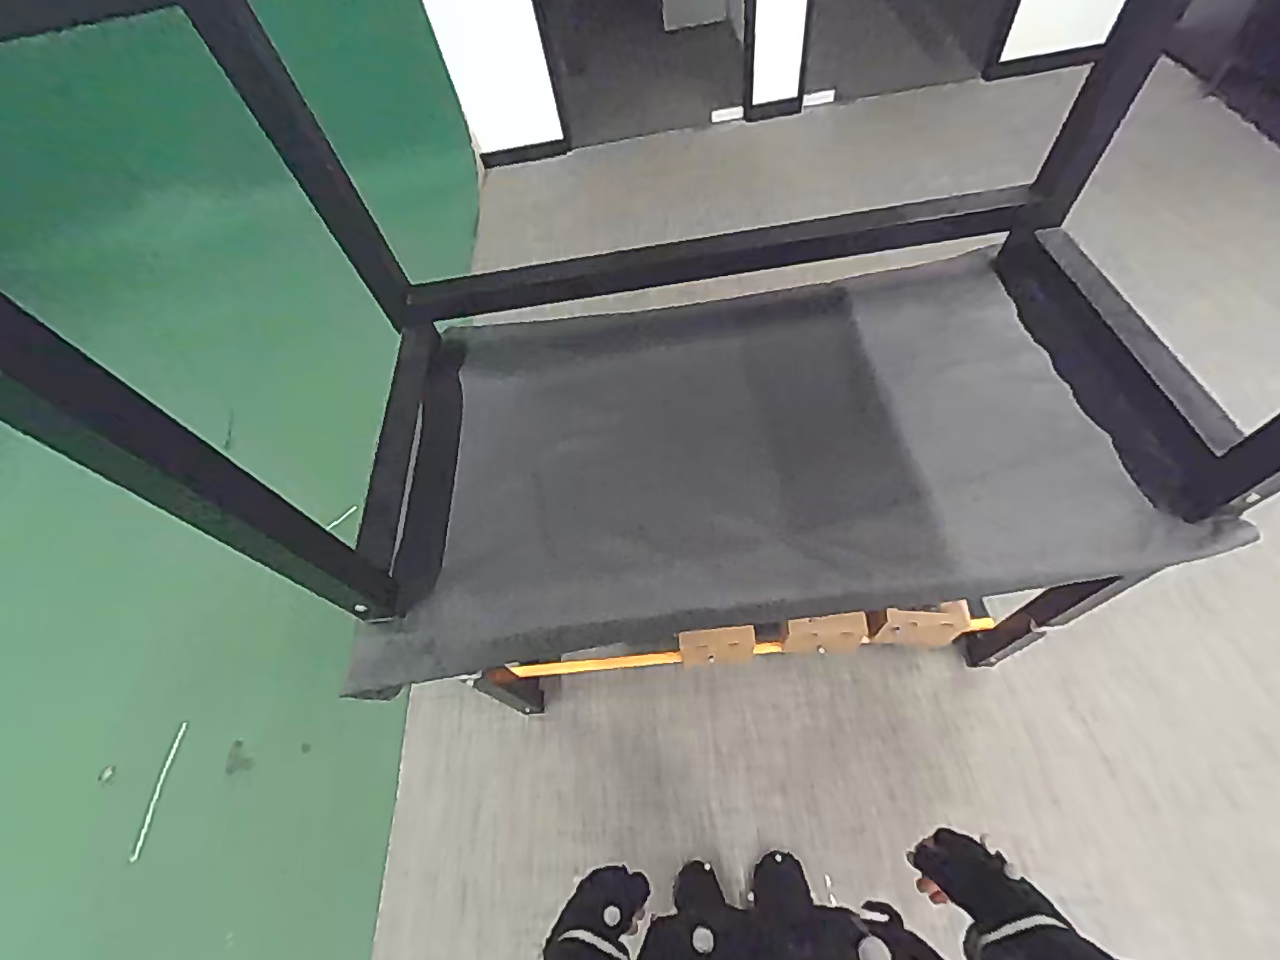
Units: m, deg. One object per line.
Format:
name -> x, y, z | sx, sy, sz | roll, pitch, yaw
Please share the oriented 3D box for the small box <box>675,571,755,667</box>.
small box -> 0.172, 0.331, 1.275 | 0.168, 0.176, 0.179 | -5, 59, 5
